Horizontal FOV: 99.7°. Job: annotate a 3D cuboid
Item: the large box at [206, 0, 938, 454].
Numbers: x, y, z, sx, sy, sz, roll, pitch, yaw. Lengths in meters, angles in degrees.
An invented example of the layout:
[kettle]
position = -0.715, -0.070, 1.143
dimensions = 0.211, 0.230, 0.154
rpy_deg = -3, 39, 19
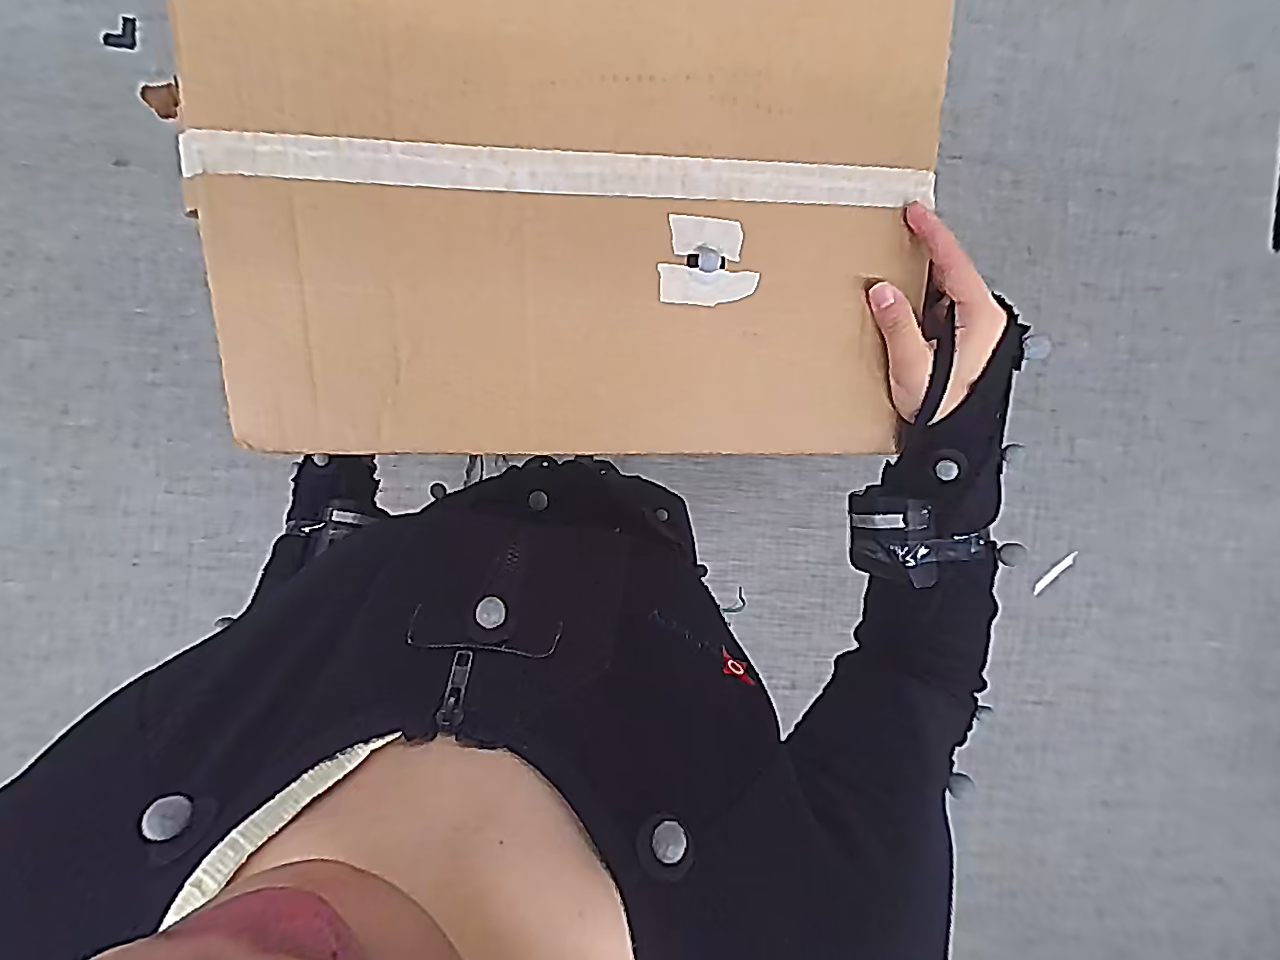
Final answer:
[large box]
position = -0.043, -0.201, 0.457
dimensions = 0.408, 0.320, 0.320
rpy_deg = -1, 102, -7
